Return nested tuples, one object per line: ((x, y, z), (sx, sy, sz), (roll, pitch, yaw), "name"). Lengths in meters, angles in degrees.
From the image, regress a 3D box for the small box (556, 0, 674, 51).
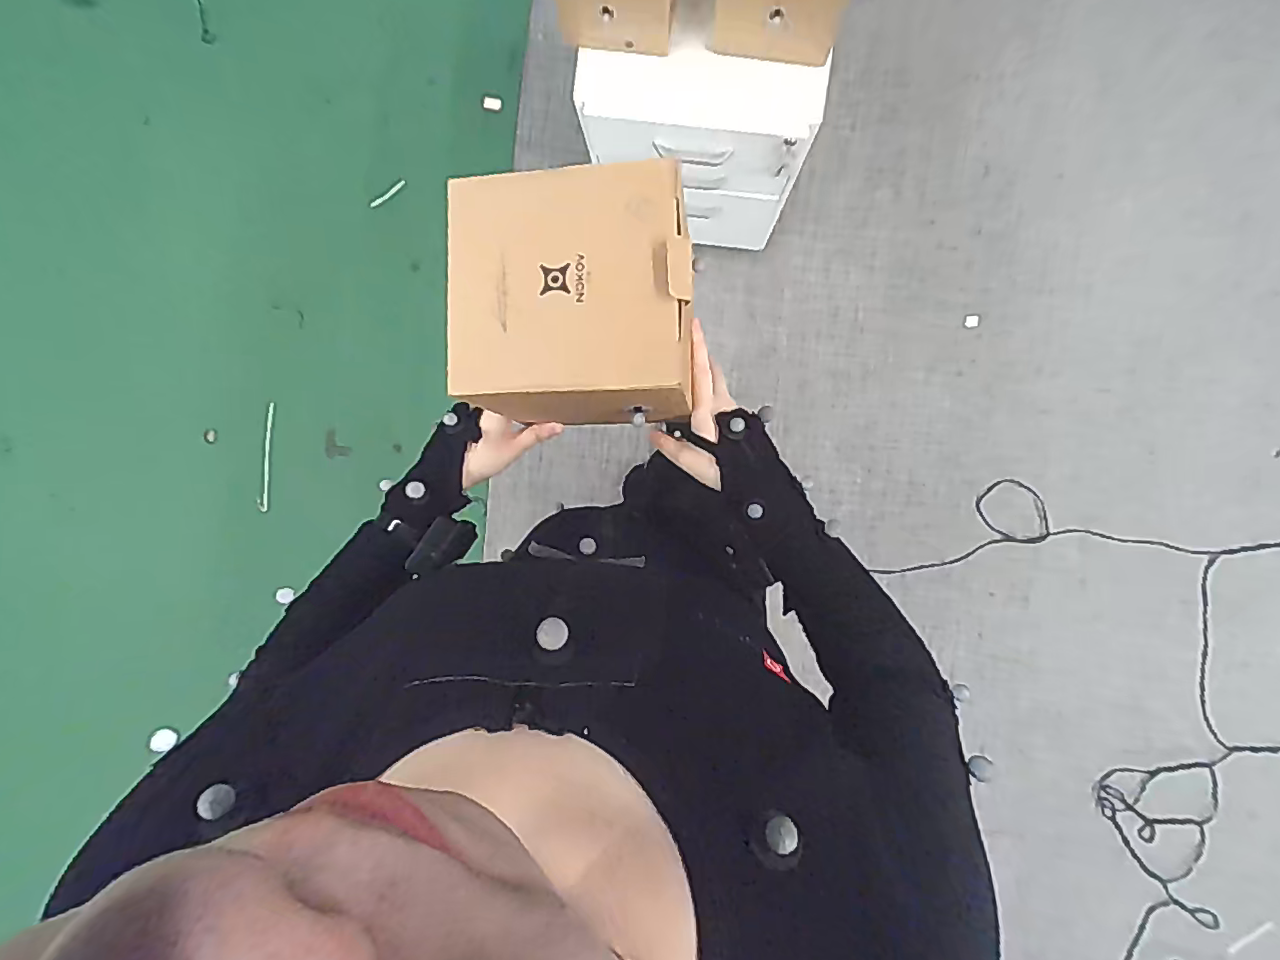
((-0.030, -0.753, 0.757), (0.168, 0.176, 0.179), (8, 95, 1), "small box")

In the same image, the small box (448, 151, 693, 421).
((-0.044, -0.145, 0.467), (0.179, 0.176, 0.168), (-1, 87, 9), "small box")
